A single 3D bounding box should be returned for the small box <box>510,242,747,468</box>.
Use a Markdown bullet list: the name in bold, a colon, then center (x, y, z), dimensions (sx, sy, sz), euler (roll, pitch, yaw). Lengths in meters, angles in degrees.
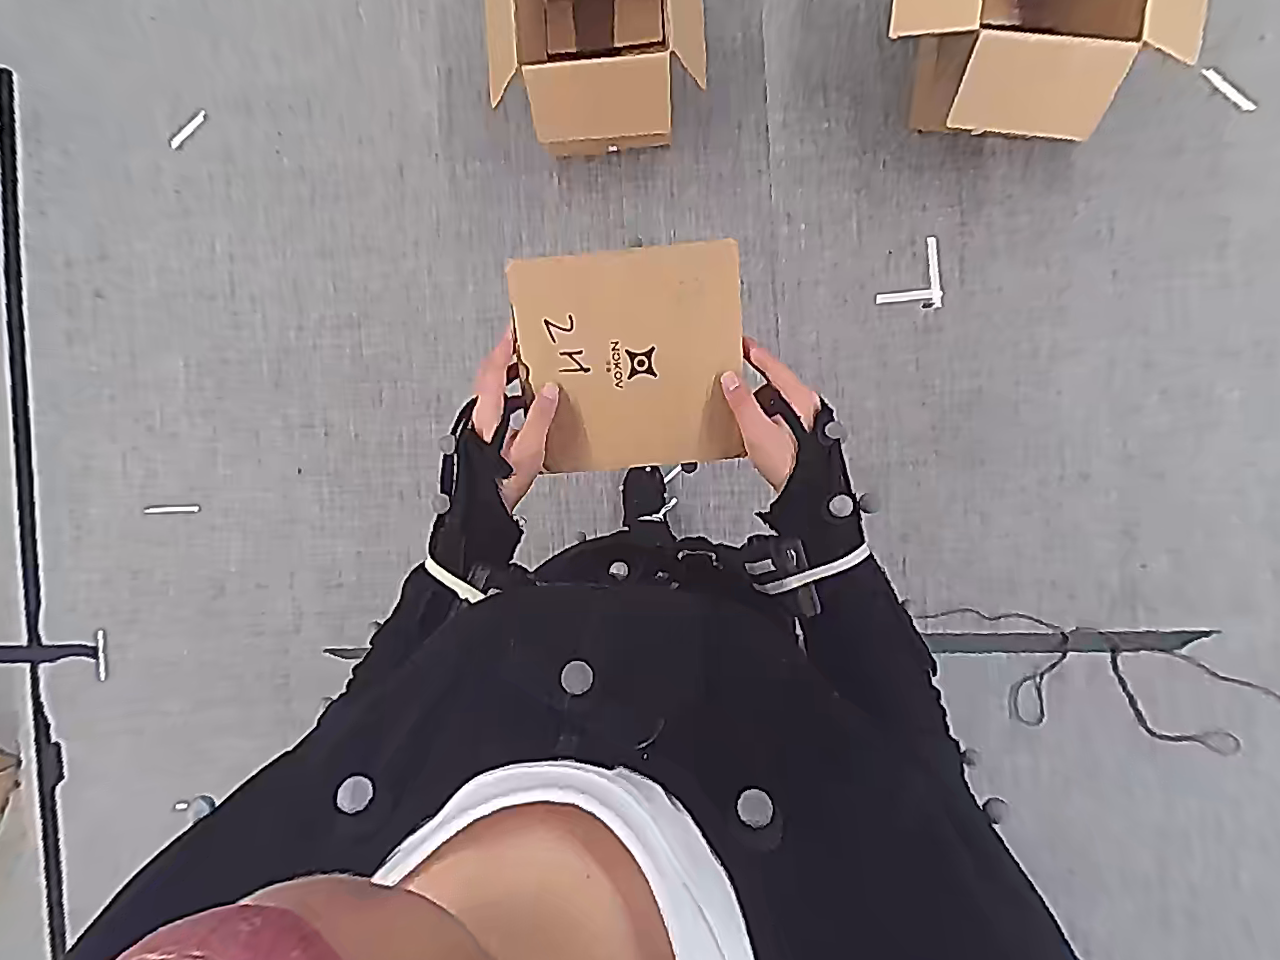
- **small box**: center (-0.005, -0.113, 0.497), dimensions (0.179, 0.176, 0.168), euler (-4, 103, 2)
